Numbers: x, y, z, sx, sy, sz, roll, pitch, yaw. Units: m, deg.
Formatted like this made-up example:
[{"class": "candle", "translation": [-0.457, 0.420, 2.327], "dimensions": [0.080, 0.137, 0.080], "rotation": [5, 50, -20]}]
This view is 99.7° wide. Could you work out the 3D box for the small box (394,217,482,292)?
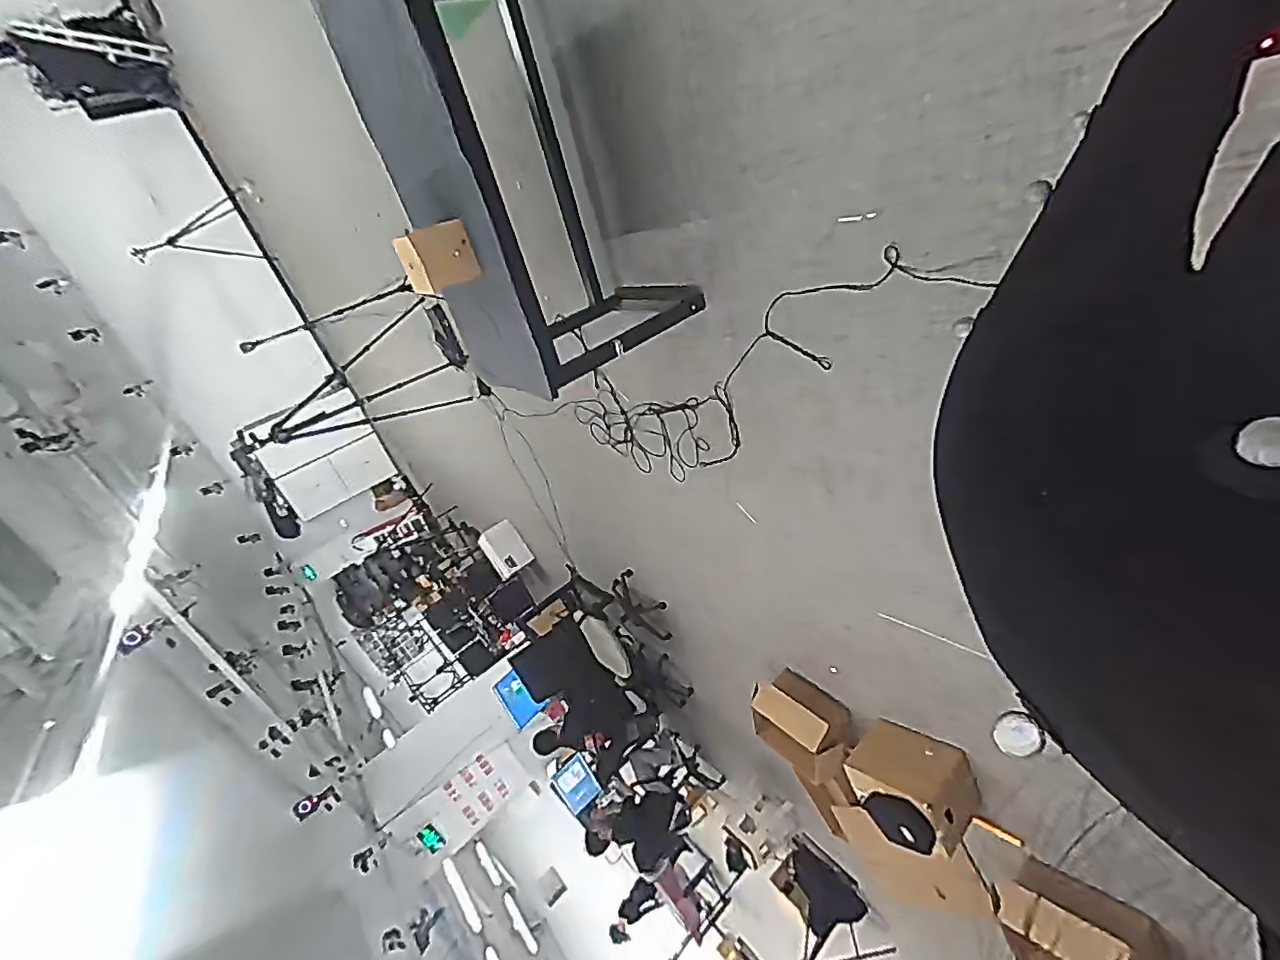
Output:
[{"class": "small box", "translation": [-0.608, -0.683, 1.642], "dimensions": [0.179, 0.176, 0.168], "rotation": [22, 139, 47]}]
